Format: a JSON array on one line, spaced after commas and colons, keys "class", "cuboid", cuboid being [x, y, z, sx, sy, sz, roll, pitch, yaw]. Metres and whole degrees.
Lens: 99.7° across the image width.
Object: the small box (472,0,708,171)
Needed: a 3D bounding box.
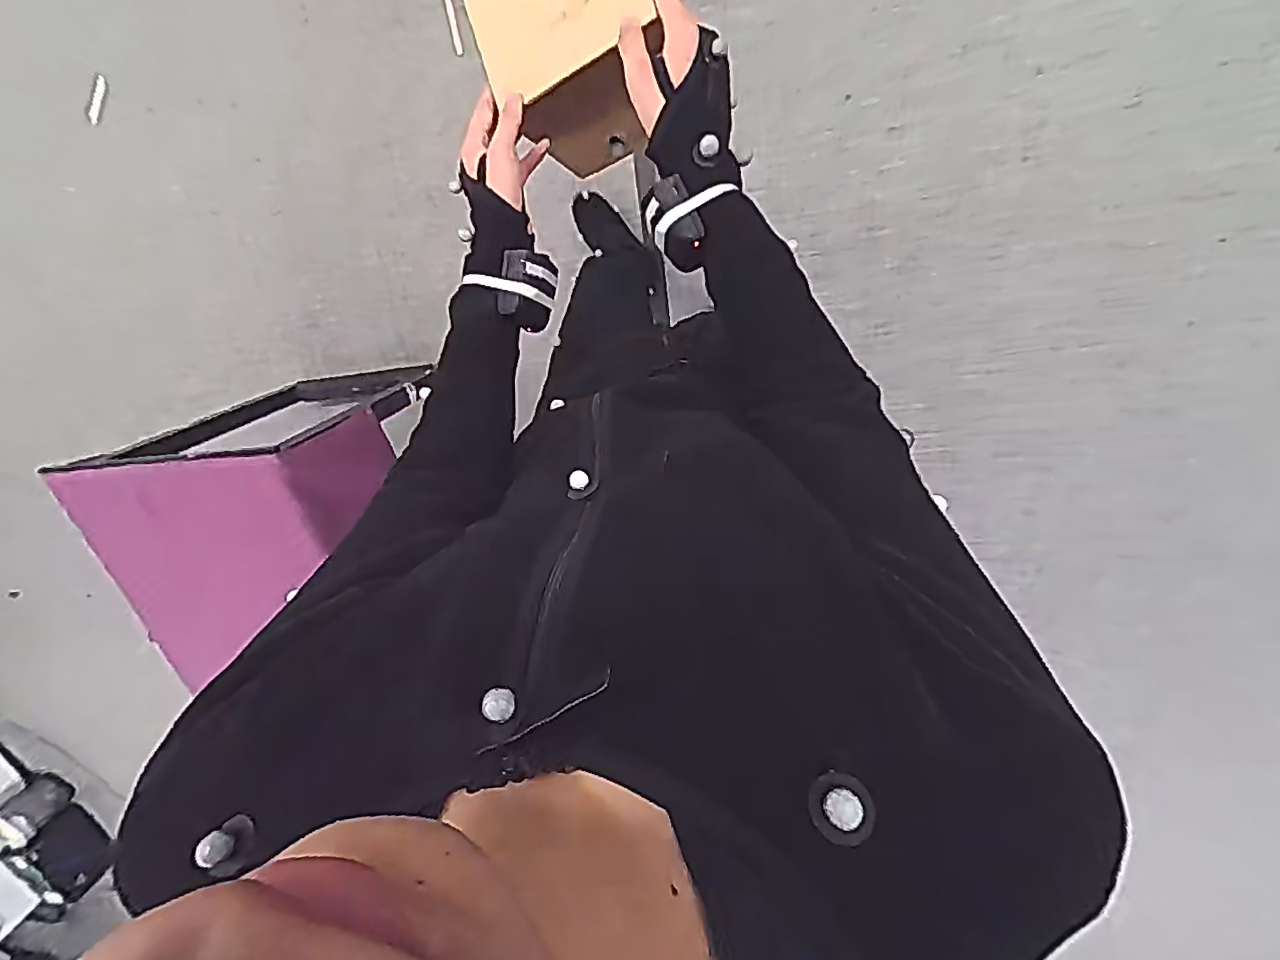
[{"class": "small box", "cuboid": [-0.047, -0.453, 0.536, 0.168, 0.176, 0.179, -15, 93, 24]}]
